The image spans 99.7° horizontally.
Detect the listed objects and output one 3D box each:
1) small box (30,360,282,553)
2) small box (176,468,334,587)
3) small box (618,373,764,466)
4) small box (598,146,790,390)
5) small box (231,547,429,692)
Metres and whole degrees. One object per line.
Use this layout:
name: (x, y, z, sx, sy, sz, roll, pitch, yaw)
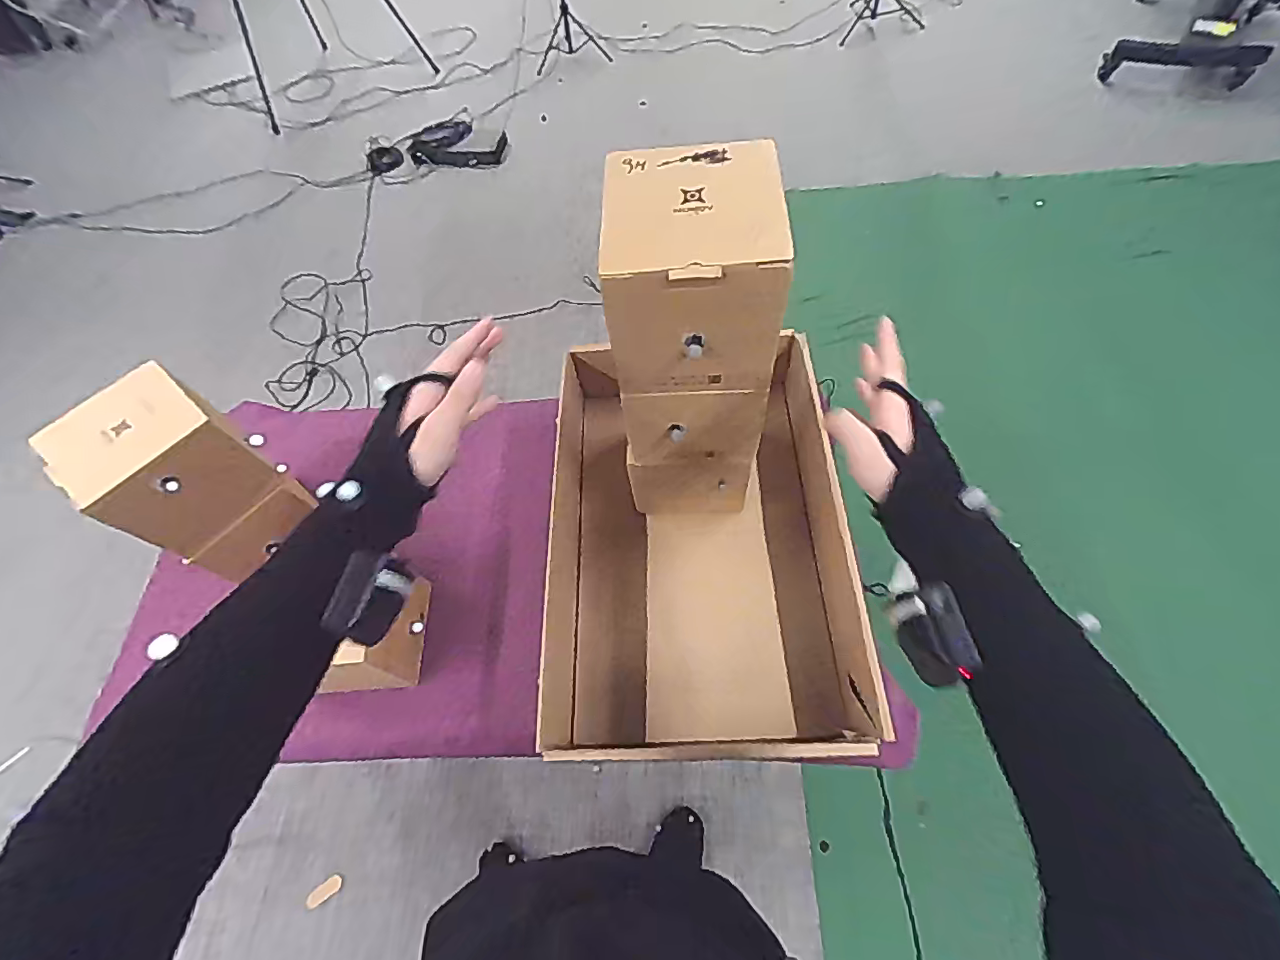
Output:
small box: (-0.666, -0.025, 0.765, 0.168, 0.176, 0.179, 37, 70, 20)
small box: (-0.661, 0.057, 0.905, 0.179, 0.176, 0.168, 36, 69, 21)
small box: (0.067, -0.128, 0.705, 0.168, 0.176, 0.179, -1, 62, 5)
small box: (0.055, -0.206, 0.561, 0.168, 0.176, 0.179, -1, 63, 5)
small box: (-0.440, 0.212, 0.801, 0.179, 0.176, 0.168, -5, 60, 1)
